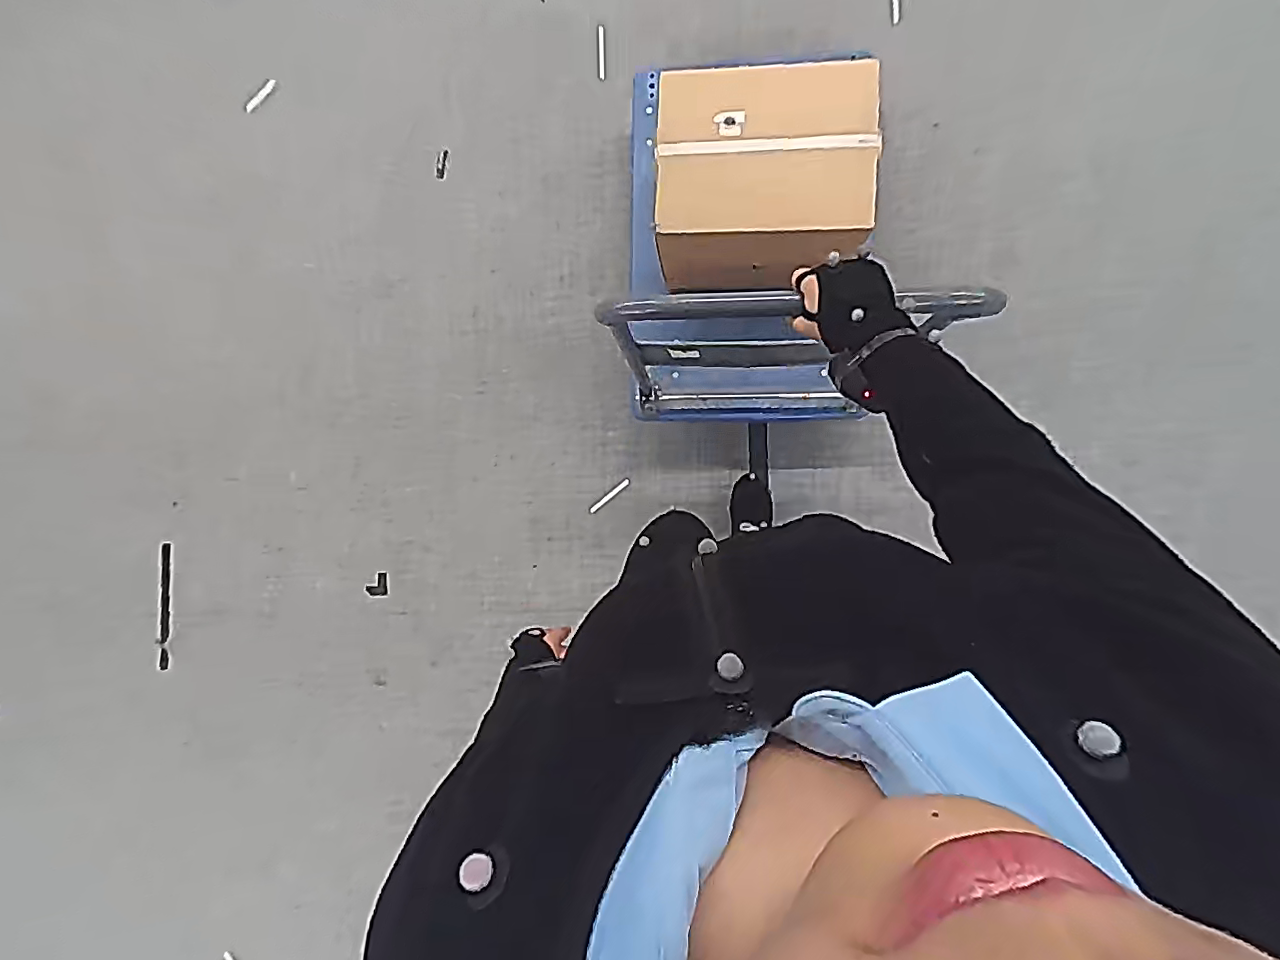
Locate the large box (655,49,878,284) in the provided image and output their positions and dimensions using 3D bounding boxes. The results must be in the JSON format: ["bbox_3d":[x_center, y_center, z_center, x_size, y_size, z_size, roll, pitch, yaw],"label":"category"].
[{"bbox_3d":[0.252,-0.622,1.142,0.408,0.320,0.320,2,89,9],"label":"large box"}]
